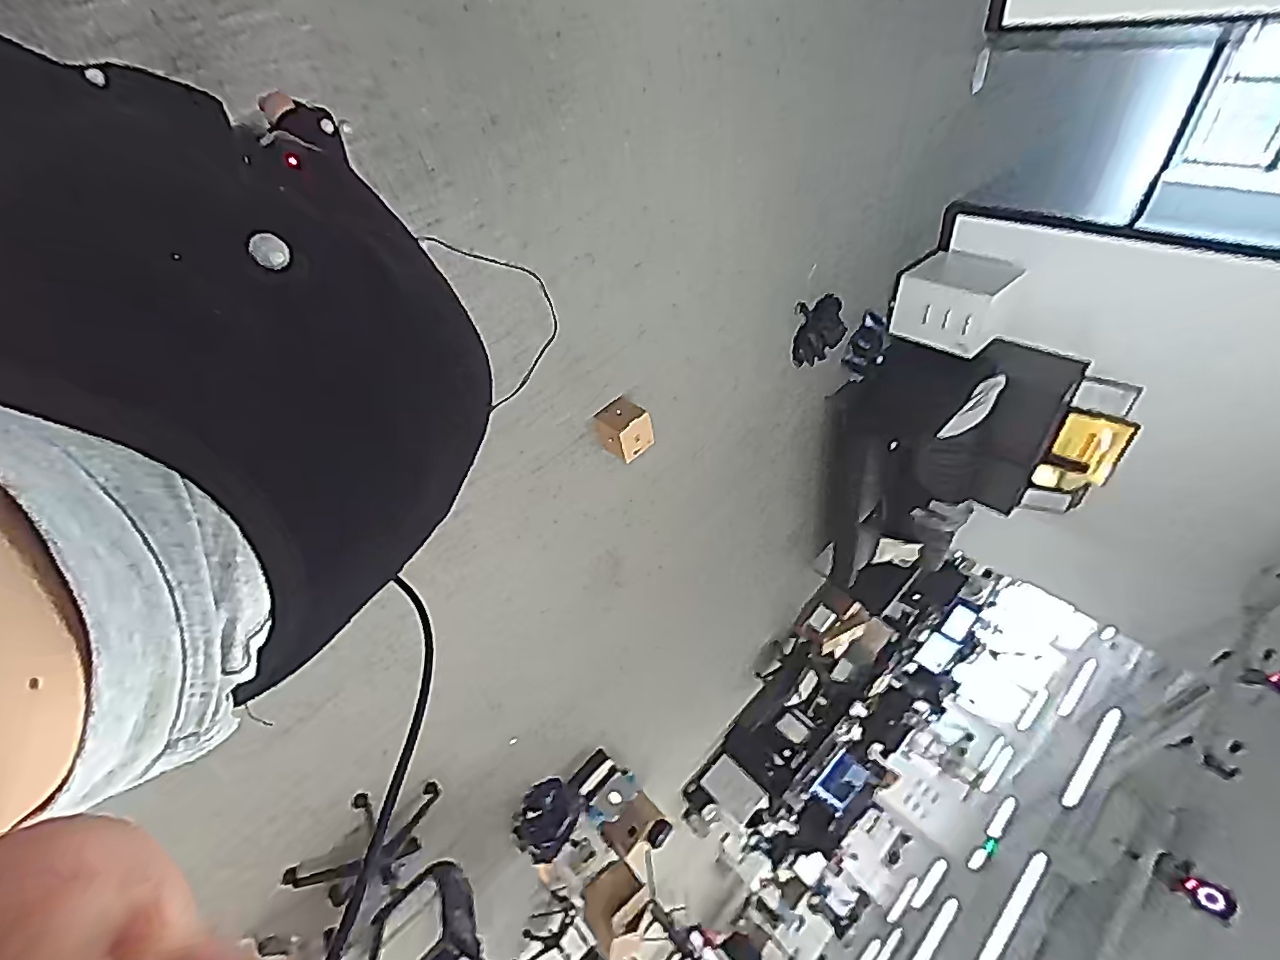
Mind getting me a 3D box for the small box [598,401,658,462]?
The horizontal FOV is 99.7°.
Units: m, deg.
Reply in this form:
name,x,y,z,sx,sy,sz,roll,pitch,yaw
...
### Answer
name,x,y,z,sx,sy,sz,roll,pitch,yaw
small box,-0.054,-0.213,2.256,0.168,0.176,0.179,-40,139,-23
